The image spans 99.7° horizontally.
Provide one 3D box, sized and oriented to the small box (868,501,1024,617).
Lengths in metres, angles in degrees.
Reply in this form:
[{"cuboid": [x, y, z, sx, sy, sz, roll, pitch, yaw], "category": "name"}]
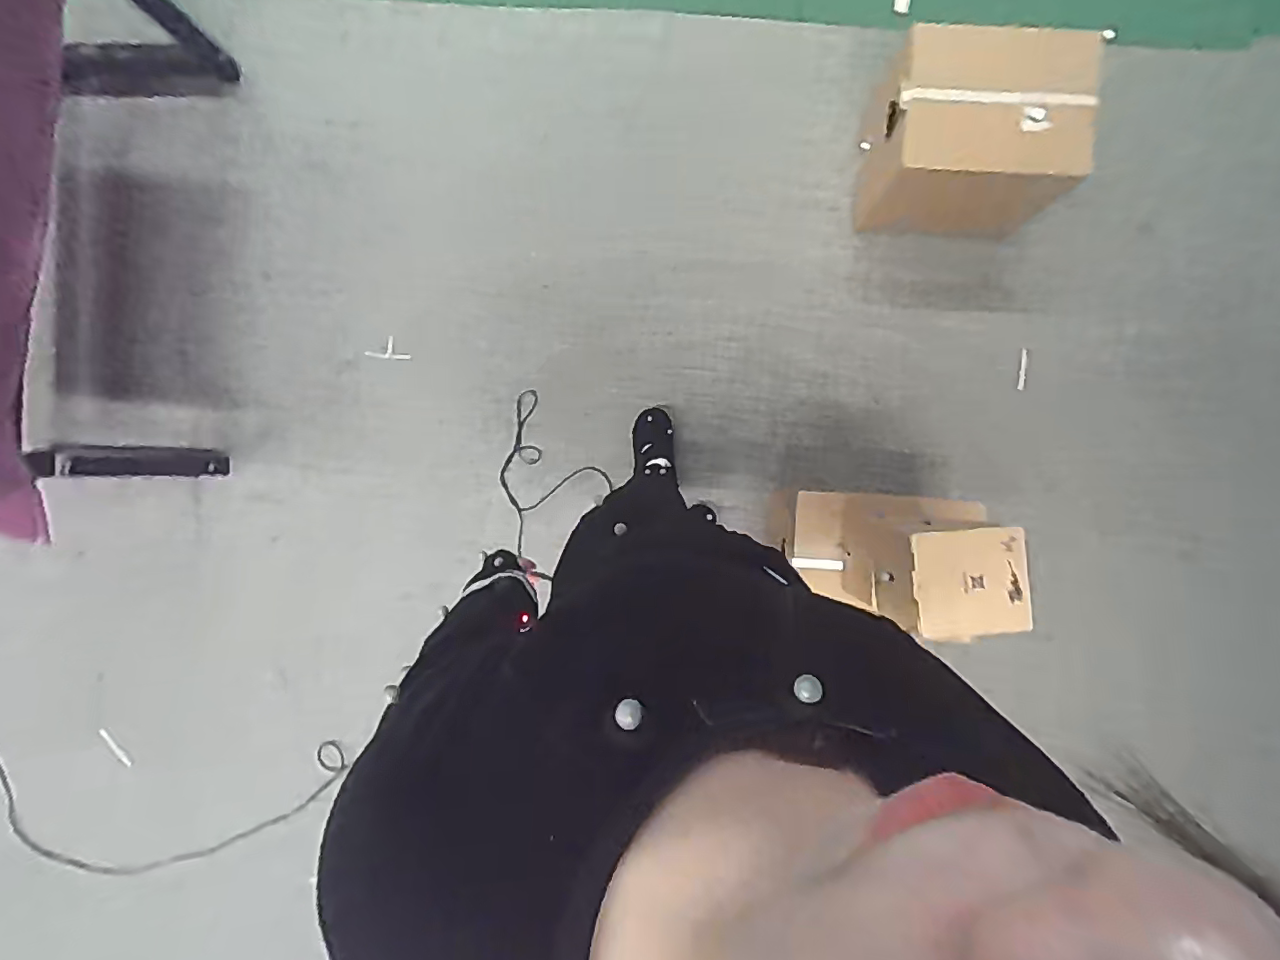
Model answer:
[{"cuboid": [0.506, 0.127, 0.925, 0.179, 0.176, 0.168, -7, 89, 3], "category": "small box"}]
